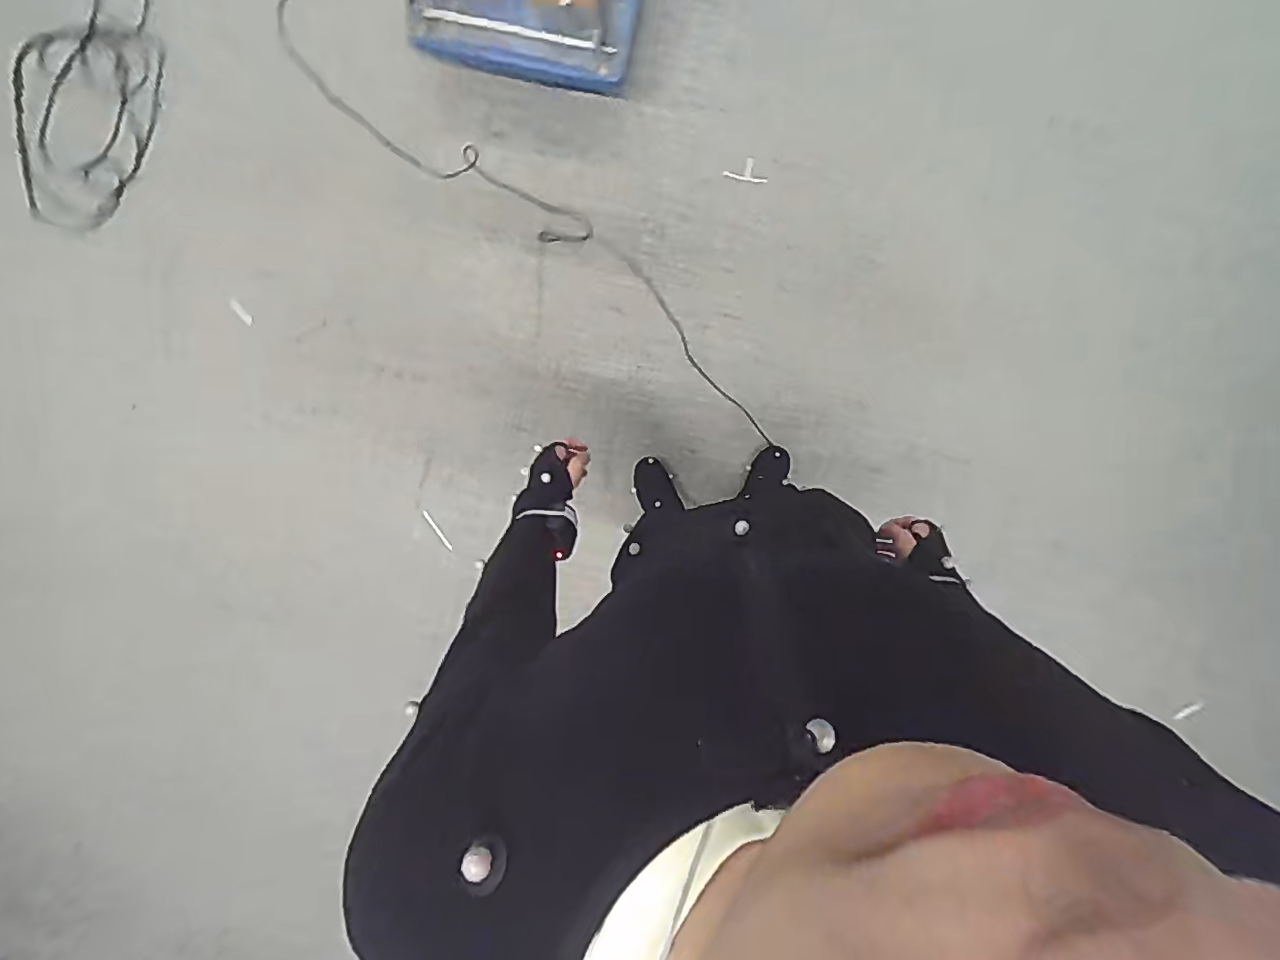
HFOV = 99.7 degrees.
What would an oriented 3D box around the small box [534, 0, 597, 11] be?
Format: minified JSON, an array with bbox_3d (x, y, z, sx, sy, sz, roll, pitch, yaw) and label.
[{"bbox_3d":[-0.179,-1.272,1.286,0.179,0.176,0.168,9,95,0],"label":"small box"}]
